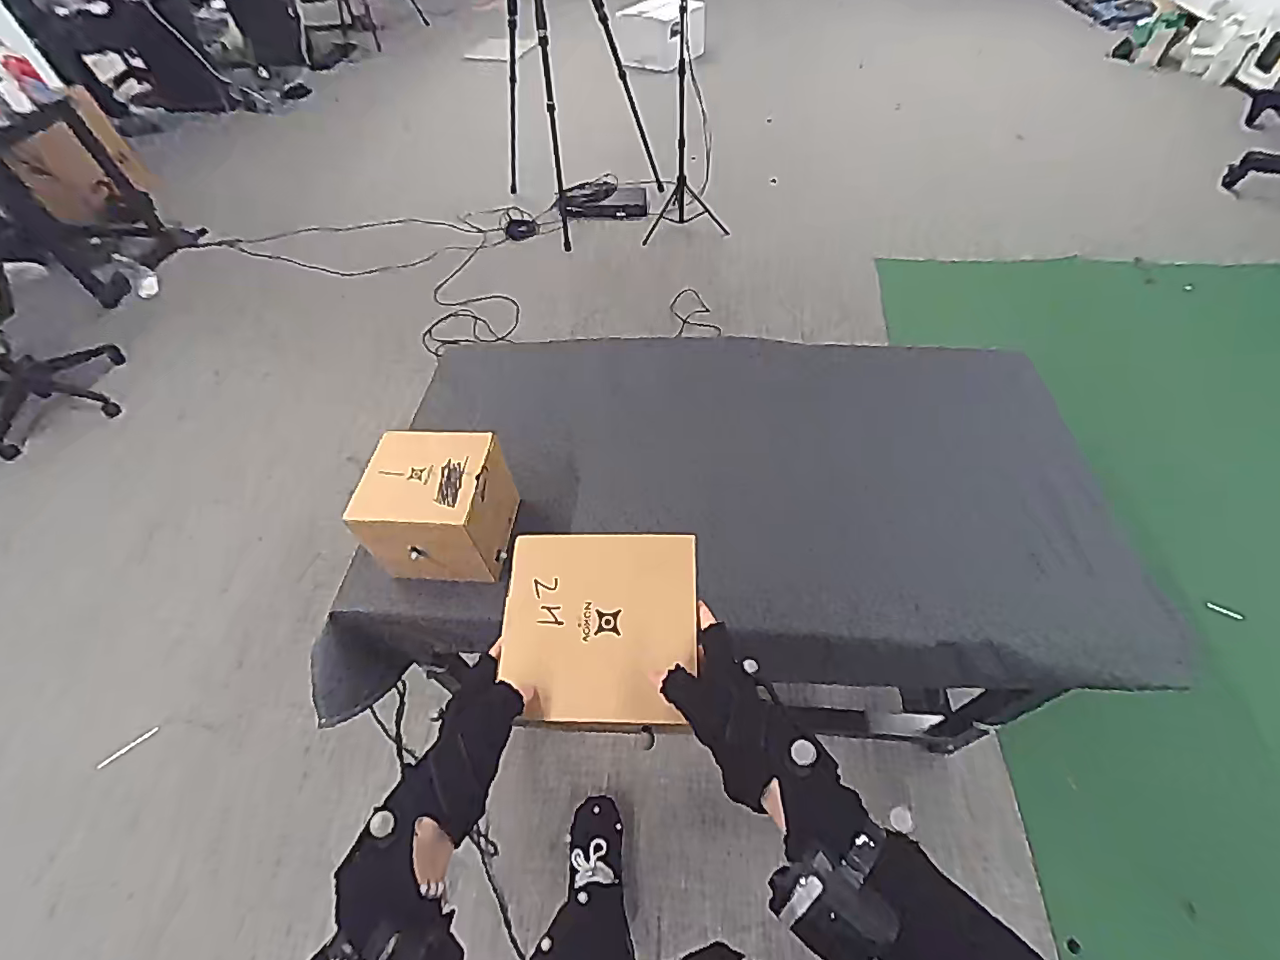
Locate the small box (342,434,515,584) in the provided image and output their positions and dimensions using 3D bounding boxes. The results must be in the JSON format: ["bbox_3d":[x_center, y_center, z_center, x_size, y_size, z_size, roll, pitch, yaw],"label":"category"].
[{"bbox_3d":[-0.304,0.049,0.829,0.179,0.176,0.168,2,52,5],"label":"small box"}]
